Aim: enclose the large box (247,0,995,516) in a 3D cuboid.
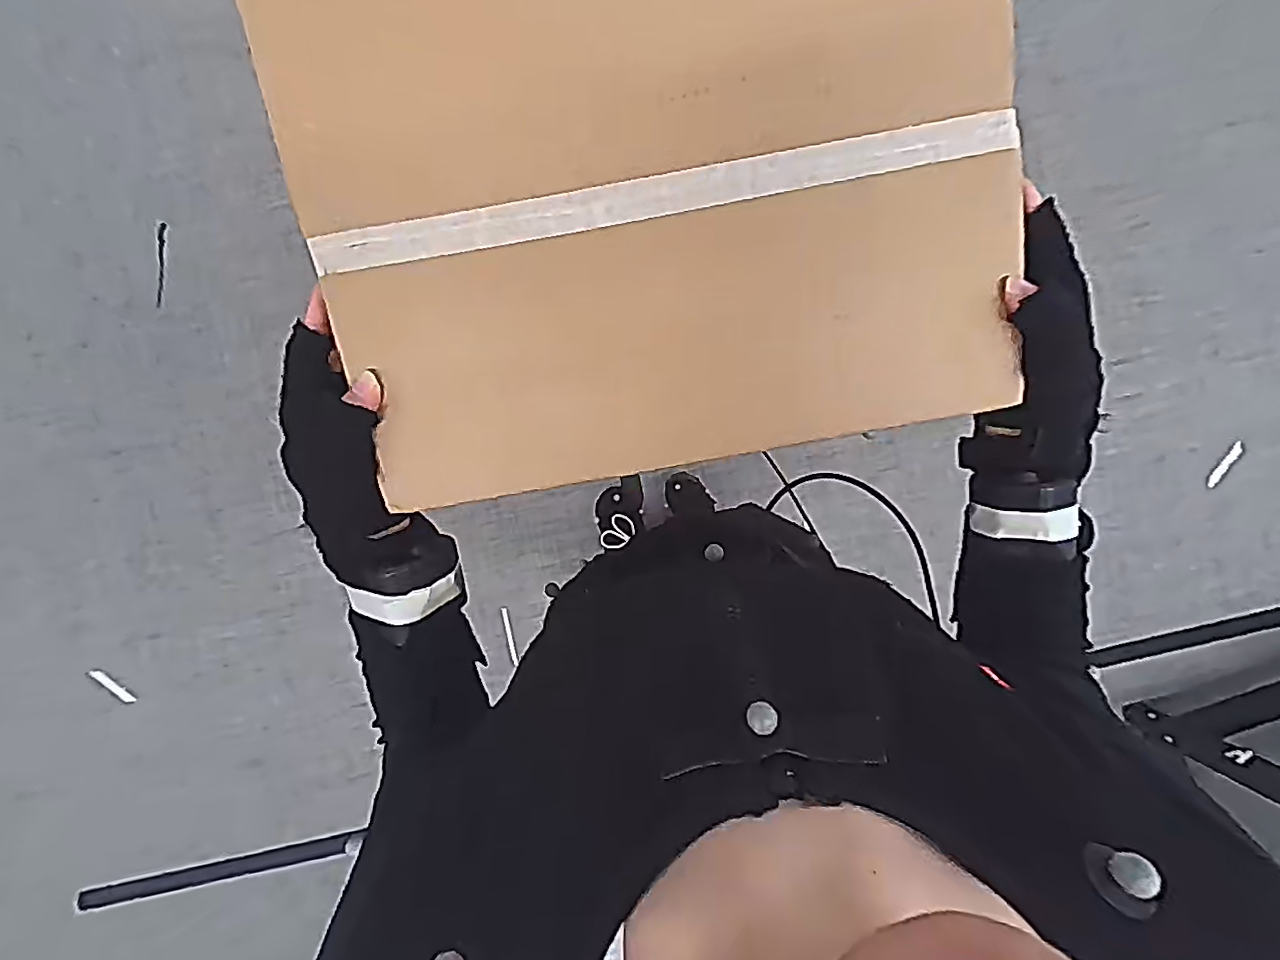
[{"bbox_3d":[0.006,-0.193,0.464,0.408,0.320,0.320,-10,102,1],"label":"large box"}]
